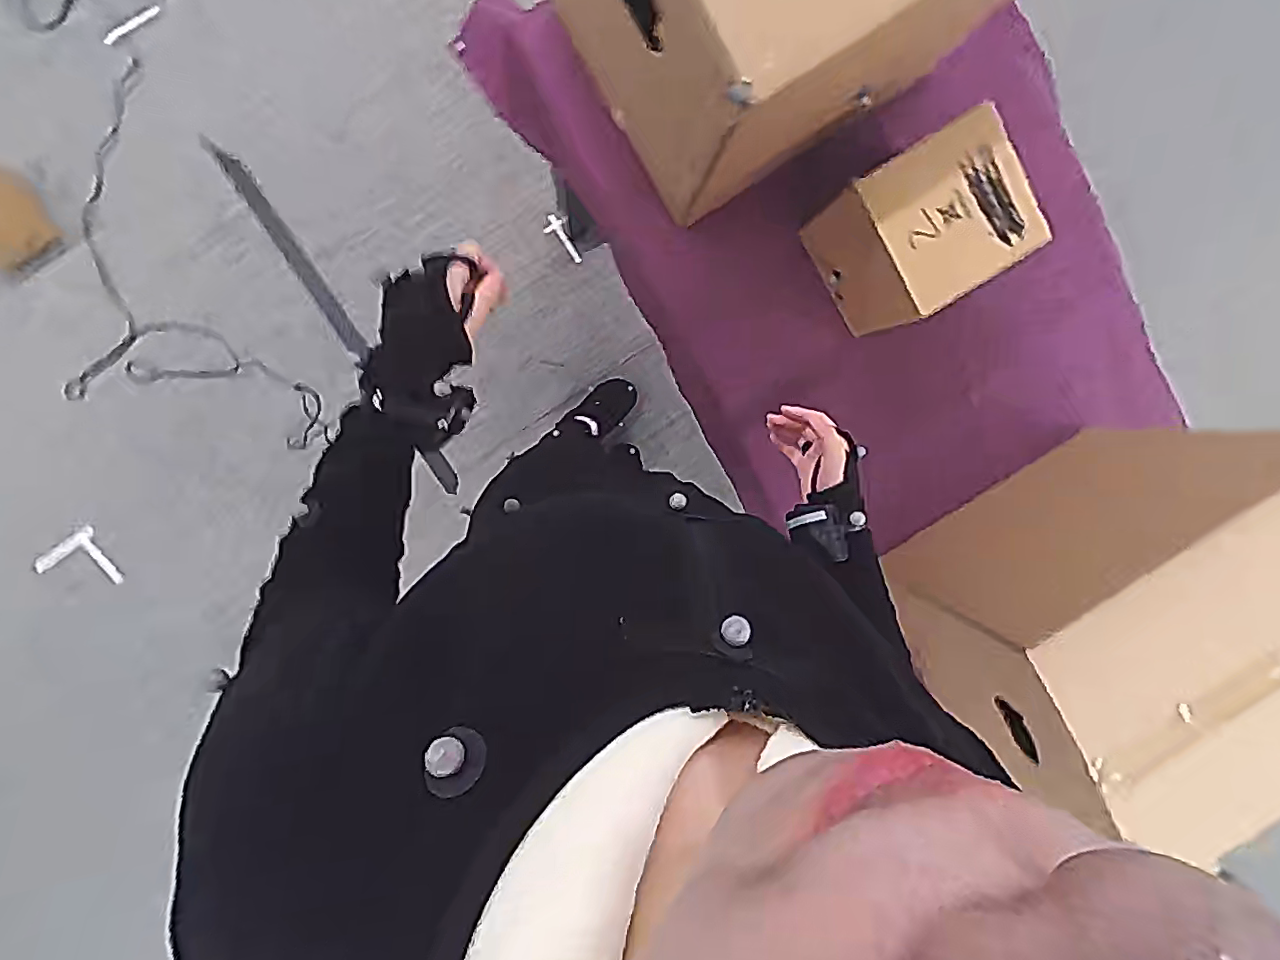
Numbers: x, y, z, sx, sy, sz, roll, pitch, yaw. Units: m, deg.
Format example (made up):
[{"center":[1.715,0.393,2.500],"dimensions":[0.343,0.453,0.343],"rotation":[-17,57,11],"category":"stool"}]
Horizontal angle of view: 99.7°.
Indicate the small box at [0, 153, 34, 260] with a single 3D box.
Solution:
[{"center":[-1.486,-0.618,1.166],"dimensions":[0.179,0.176,0.168],"rotation":[-37,80,19],"category":"small box"}]
